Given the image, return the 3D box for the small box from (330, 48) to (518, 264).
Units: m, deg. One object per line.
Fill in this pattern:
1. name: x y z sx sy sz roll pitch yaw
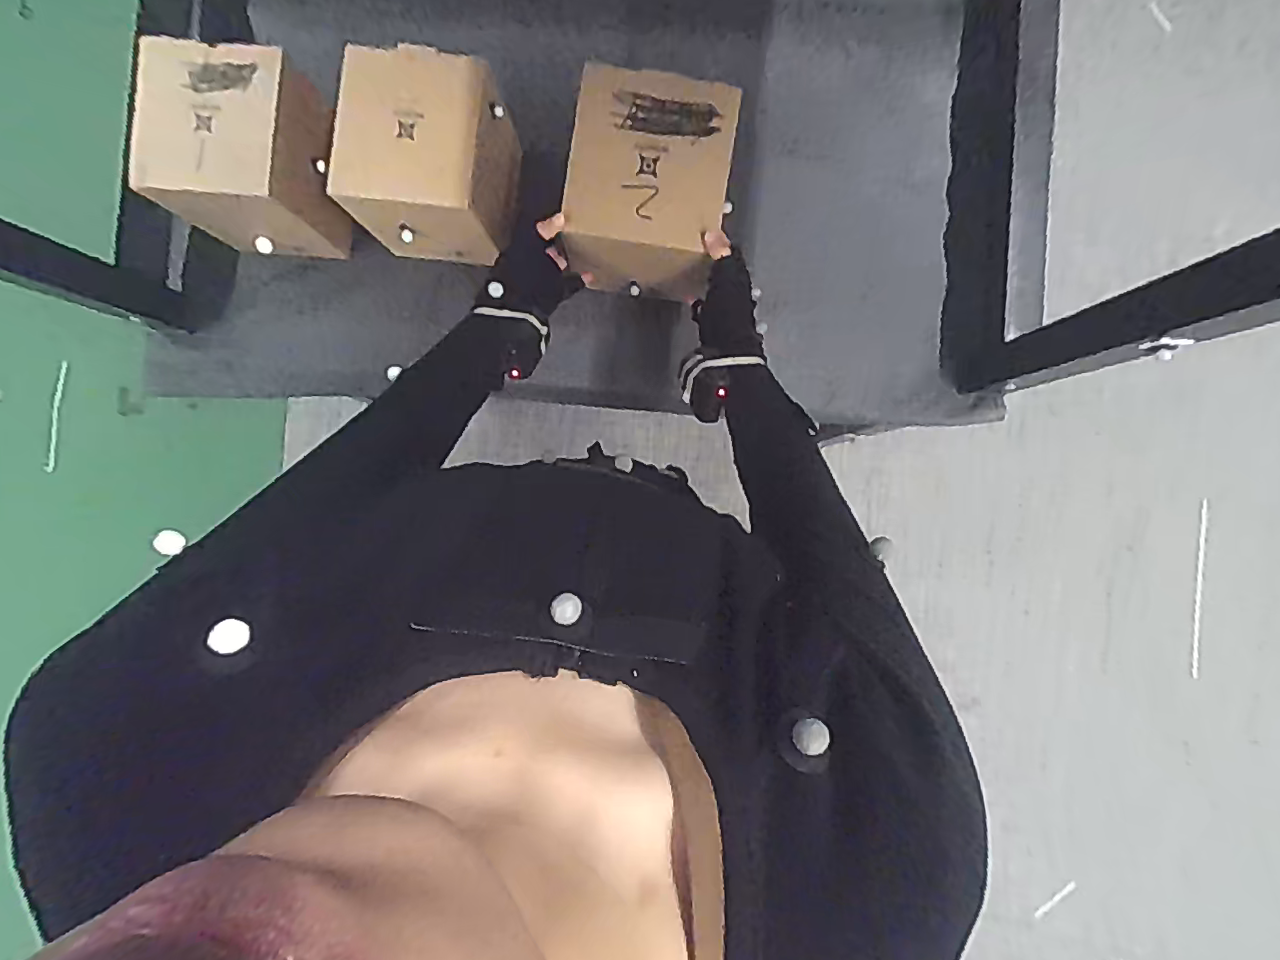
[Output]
1. small box: -0.263 -0.399 0.697 0.168 0.176 0.179 6 88 1

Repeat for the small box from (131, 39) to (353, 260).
1. small box: -0.490 -0.411 0.697 0.168 0.176 0.179 5 89 1
